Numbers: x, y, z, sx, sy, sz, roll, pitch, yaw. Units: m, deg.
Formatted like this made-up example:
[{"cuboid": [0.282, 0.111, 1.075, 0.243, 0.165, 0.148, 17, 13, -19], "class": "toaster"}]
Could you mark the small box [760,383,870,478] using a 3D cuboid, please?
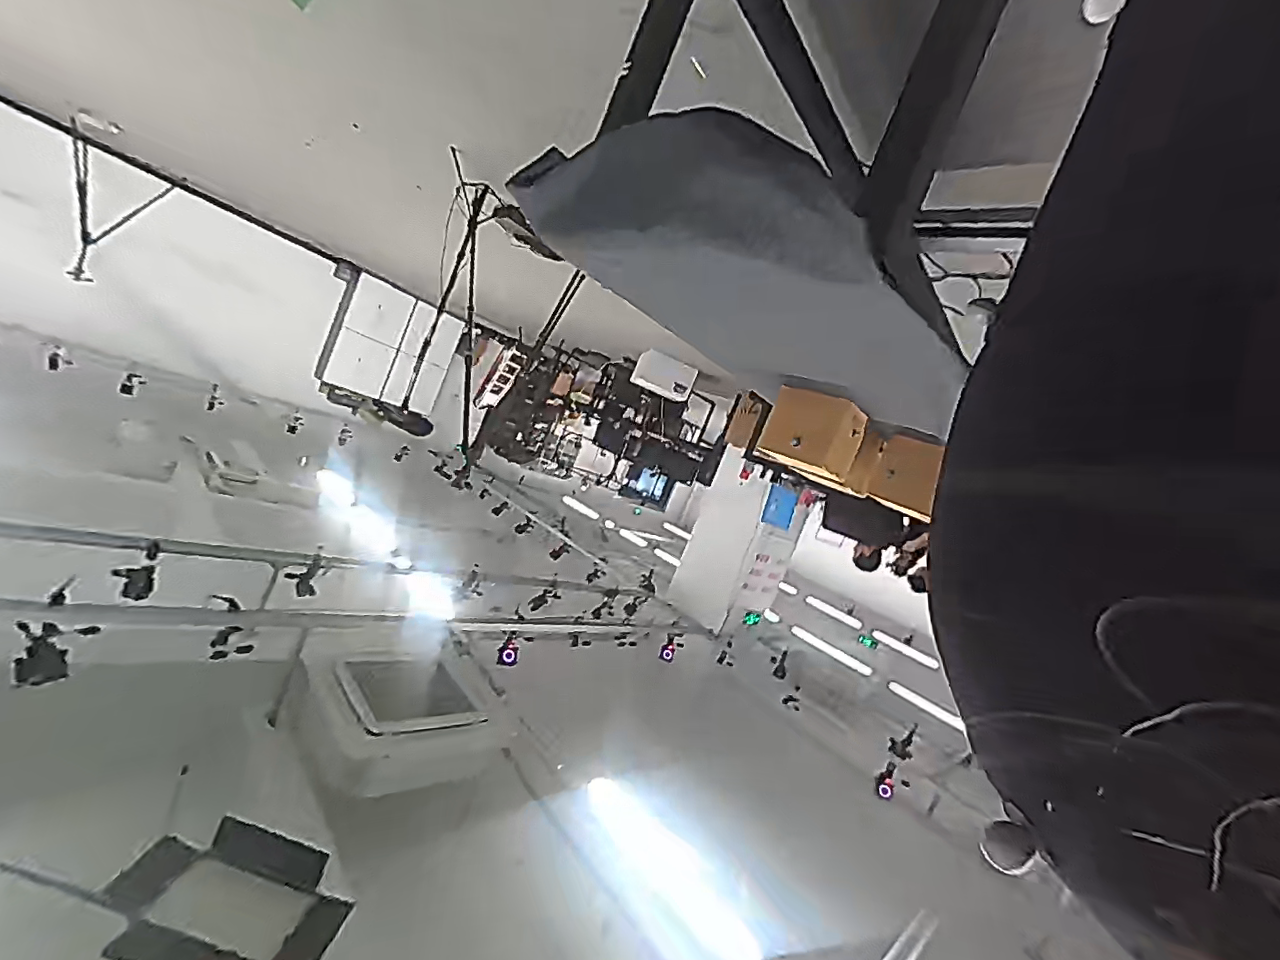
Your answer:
[{"cuboid": [0.427, -0.123, 1.313, 0.179, 0.176, 0.168, 23, -177, 40], "class": "small box"}]

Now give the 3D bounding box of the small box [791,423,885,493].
[{"cuboid": [0.559, -0.080, 1.509, 0.179, 0.176, 0.168, 25, -175, 43], "class": "small box"}]
